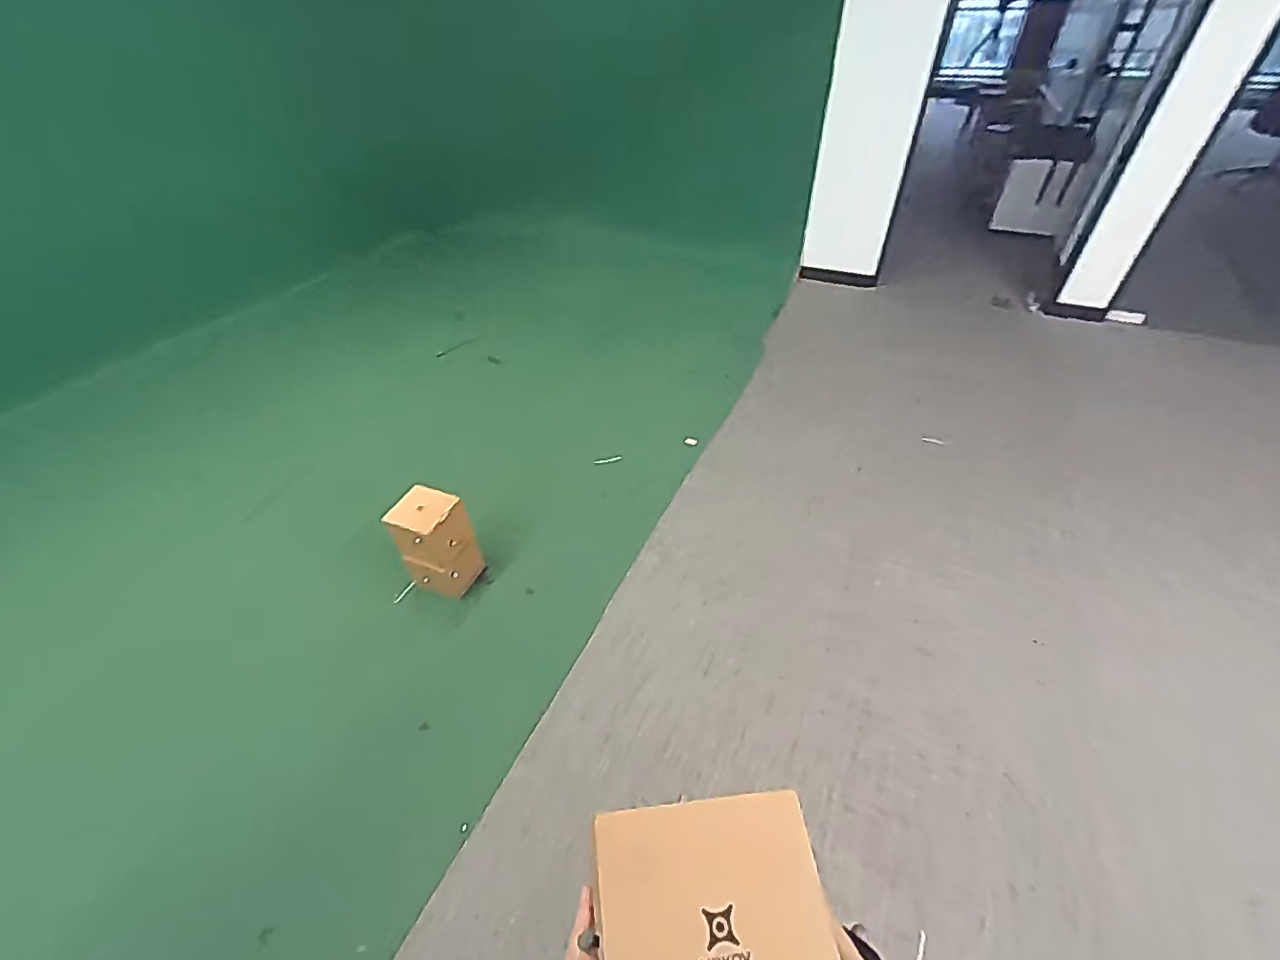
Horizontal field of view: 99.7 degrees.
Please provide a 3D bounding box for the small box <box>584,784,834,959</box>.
[{"bbox_3d":[0.042,0.365,0.437,0.168,0.176,0.179,-1,53,-9],"label":"small box"}]

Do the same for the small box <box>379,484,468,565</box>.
[{"bbox_3d":[-0.672,0.142,1.701,0.179,0.176,0.168,15,46,17],"label":"small box"}]
